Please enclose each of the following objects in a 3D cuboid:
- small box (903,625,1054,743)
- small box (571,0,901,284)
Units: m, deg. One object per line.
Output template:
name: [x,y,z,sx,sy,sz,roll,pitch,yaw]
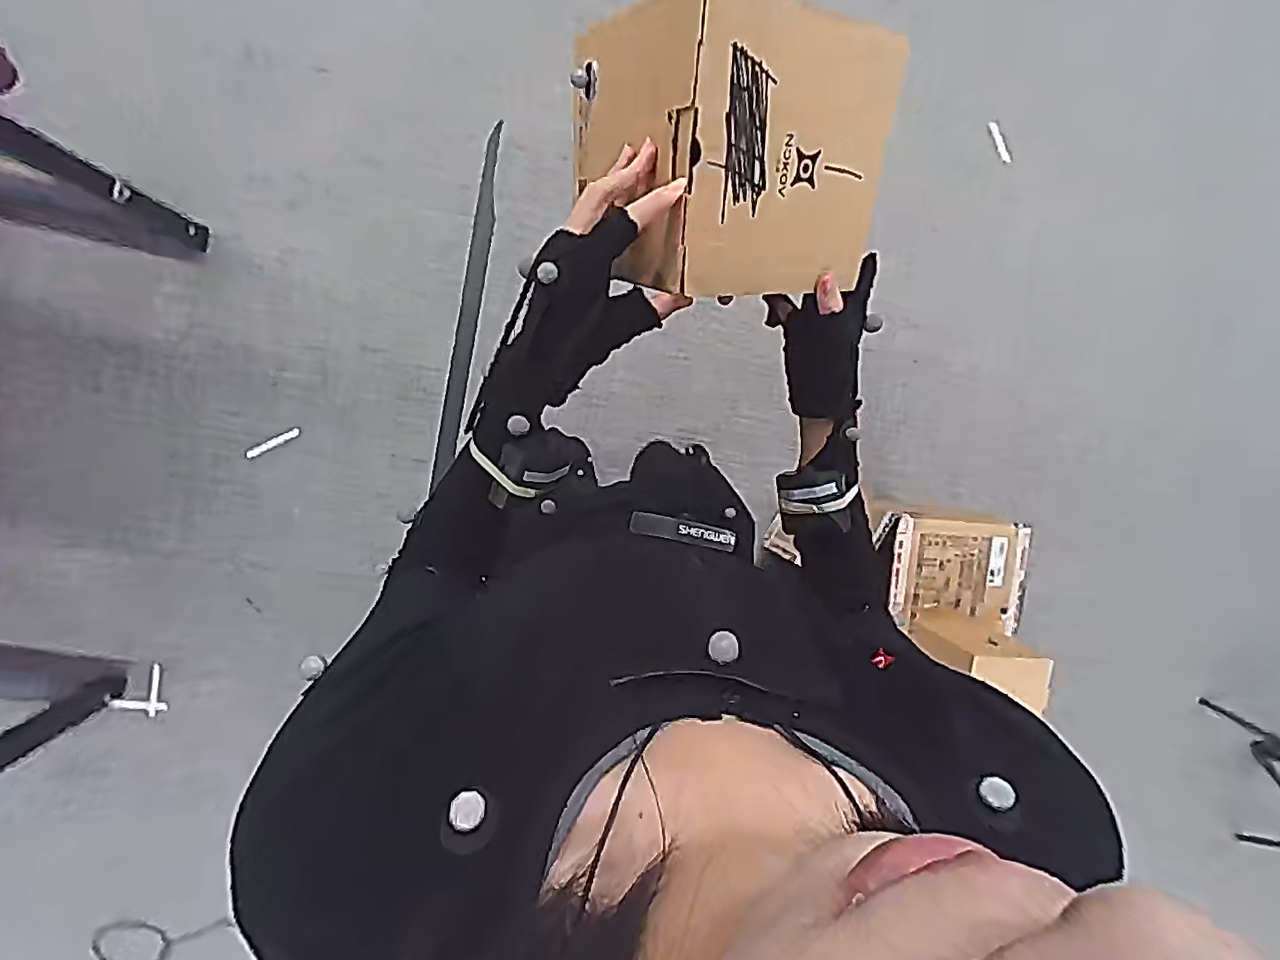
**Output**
small box: [0.666,0.400,1.080,0.179,0.176,0.168,6,96,-11]
small box: [0.055,-0.244,0.414,0.179,0.176,0.168,-13,120,-29]
